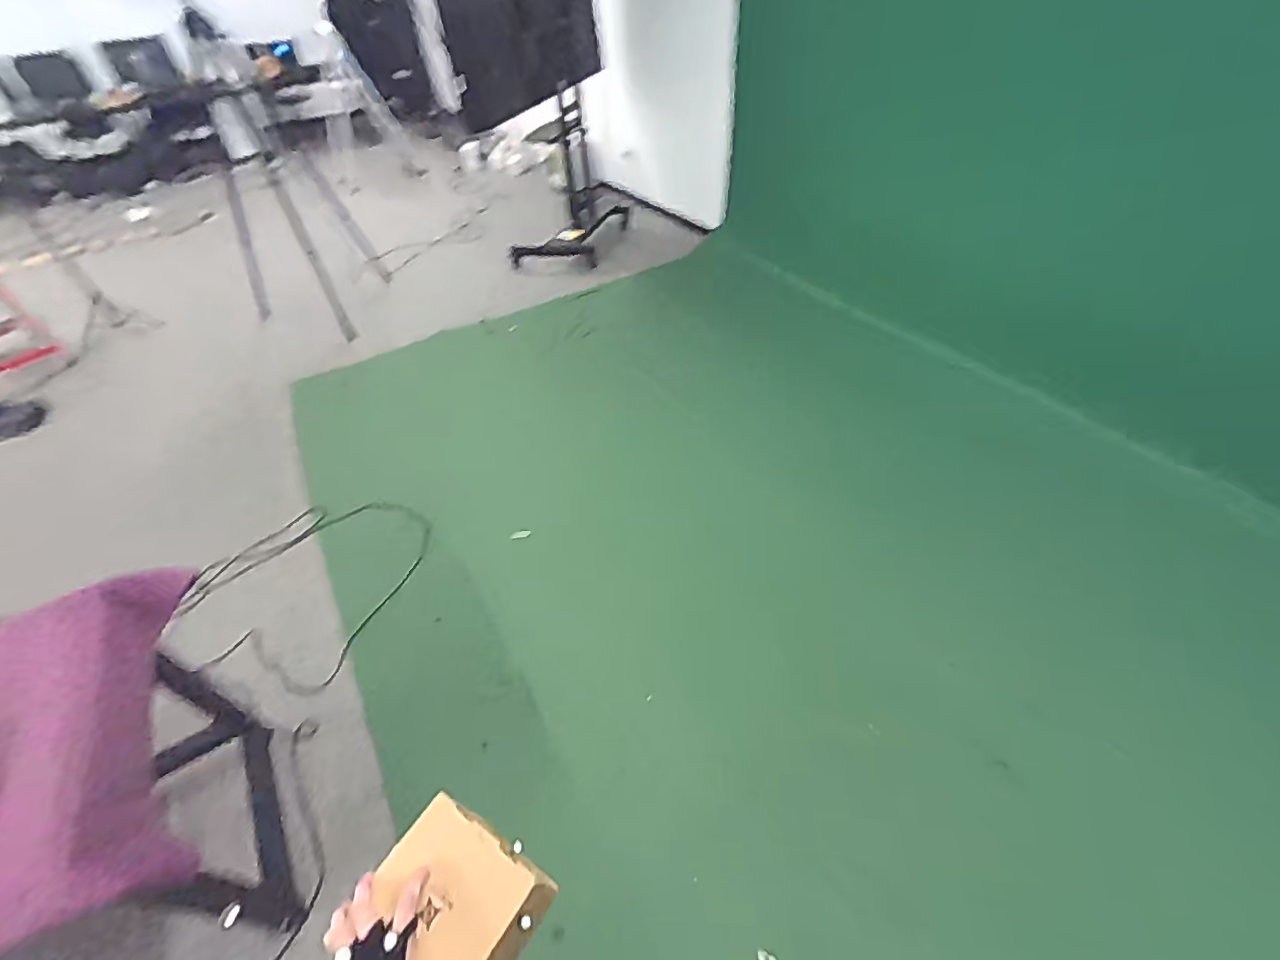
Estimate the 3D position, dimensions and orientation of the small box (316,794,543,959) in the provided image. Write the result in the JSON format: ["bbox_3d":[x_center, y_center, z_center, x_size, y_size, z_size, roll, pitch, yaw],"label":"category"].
[{"bbox_3d":[-0.239,0.535,0.663,0.168,0.176,0.179,25,53,22],"label":"small box"}]
